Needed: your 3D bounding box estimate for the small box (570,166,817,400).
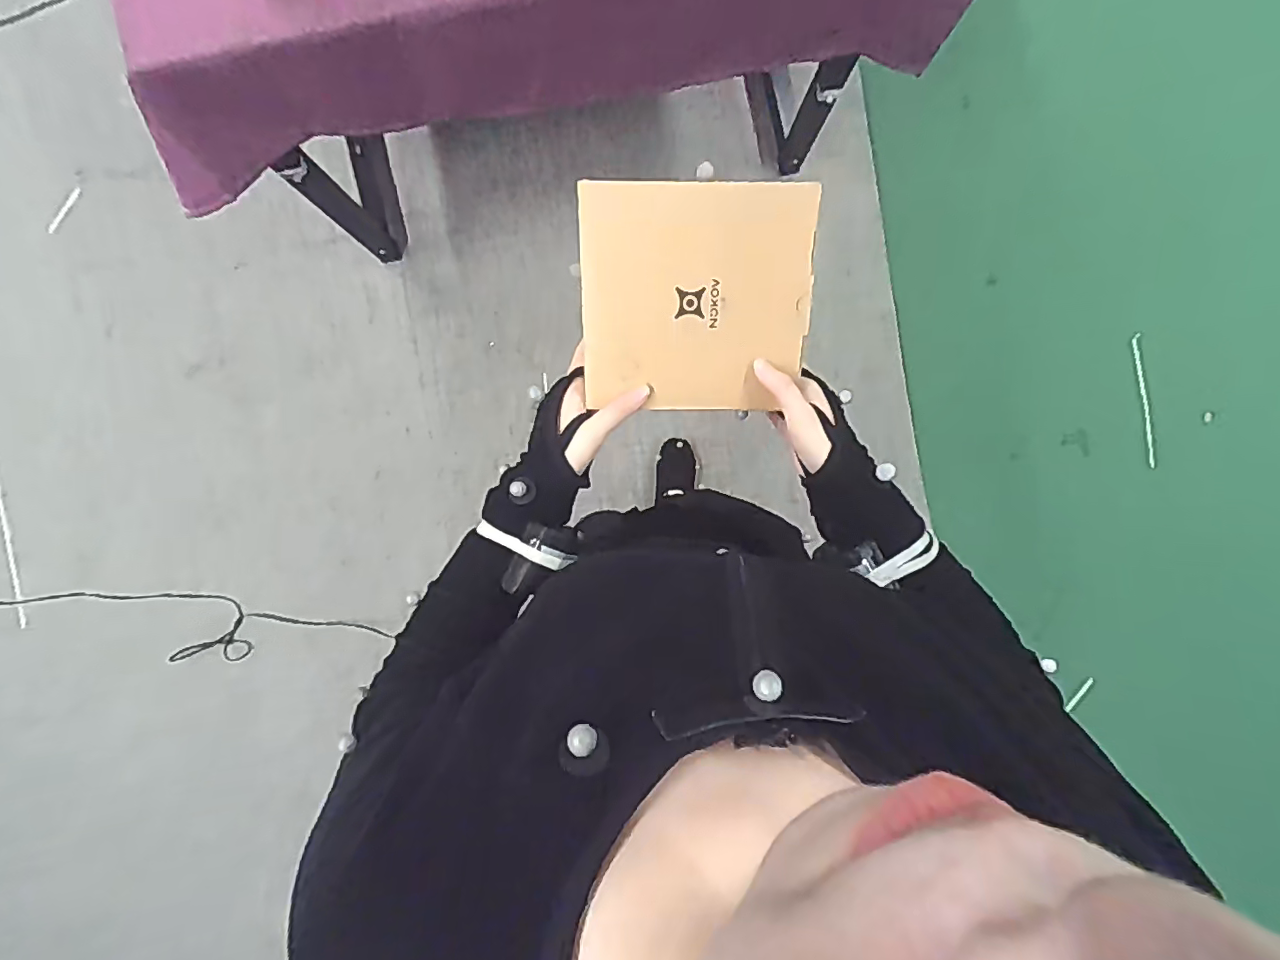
[{"bbox_3d":[0.036,-0.170,0.481,0.179,0.176,0.168,0,112,-2],"label":"small box"}]
